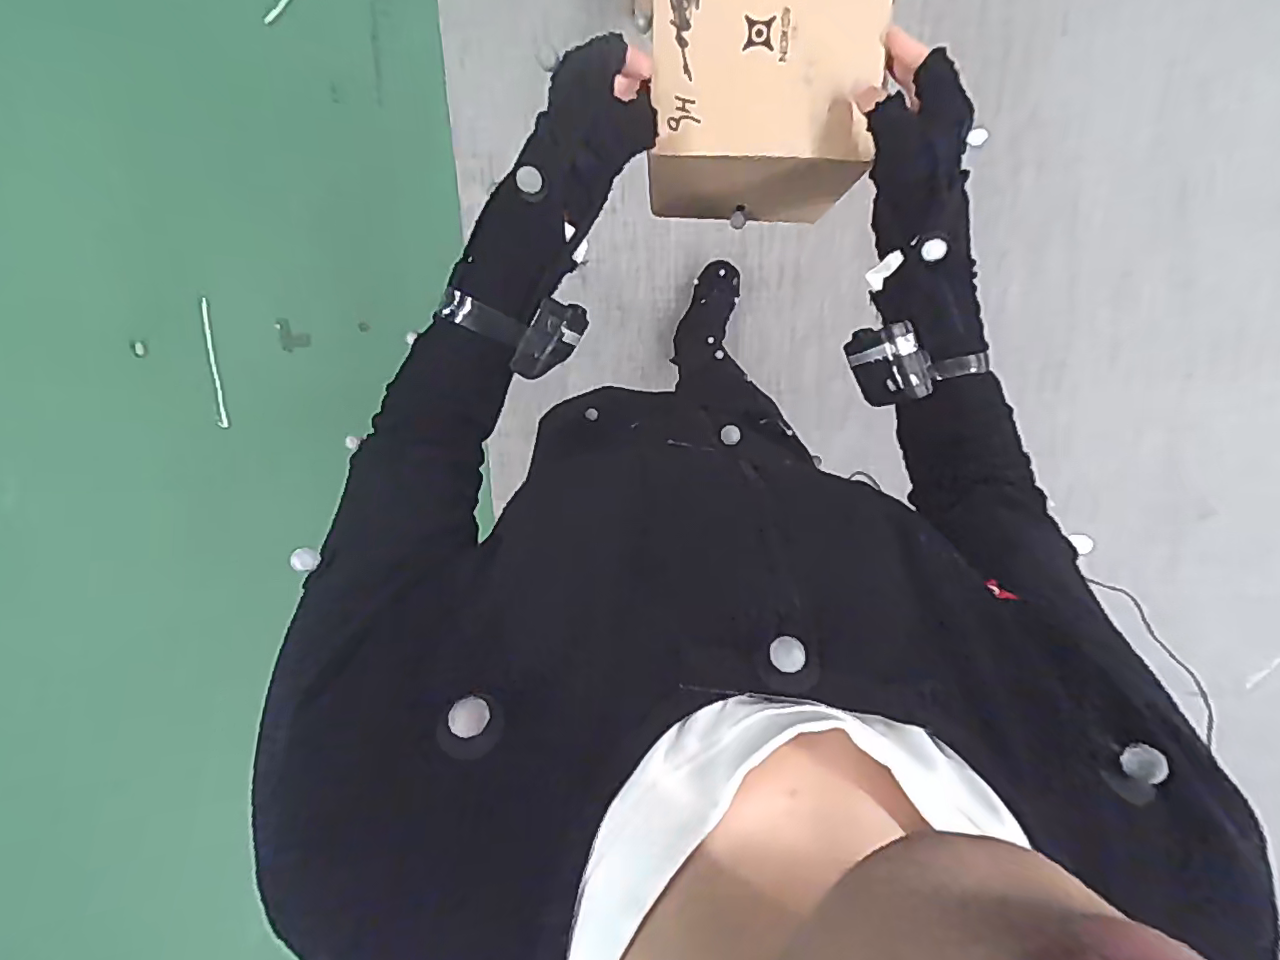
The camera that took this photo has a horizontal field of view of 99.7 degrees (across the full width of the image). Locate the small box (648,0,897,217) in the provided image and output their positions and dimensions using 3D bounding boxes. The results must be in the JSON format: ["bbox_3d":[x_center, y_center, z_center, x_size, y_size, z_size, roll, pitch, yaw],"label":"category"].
[{"bbox_3d":[0.099,-0.343,0.475,0.179,0.176,0.168,3,101,1],"label":"small box"}]
